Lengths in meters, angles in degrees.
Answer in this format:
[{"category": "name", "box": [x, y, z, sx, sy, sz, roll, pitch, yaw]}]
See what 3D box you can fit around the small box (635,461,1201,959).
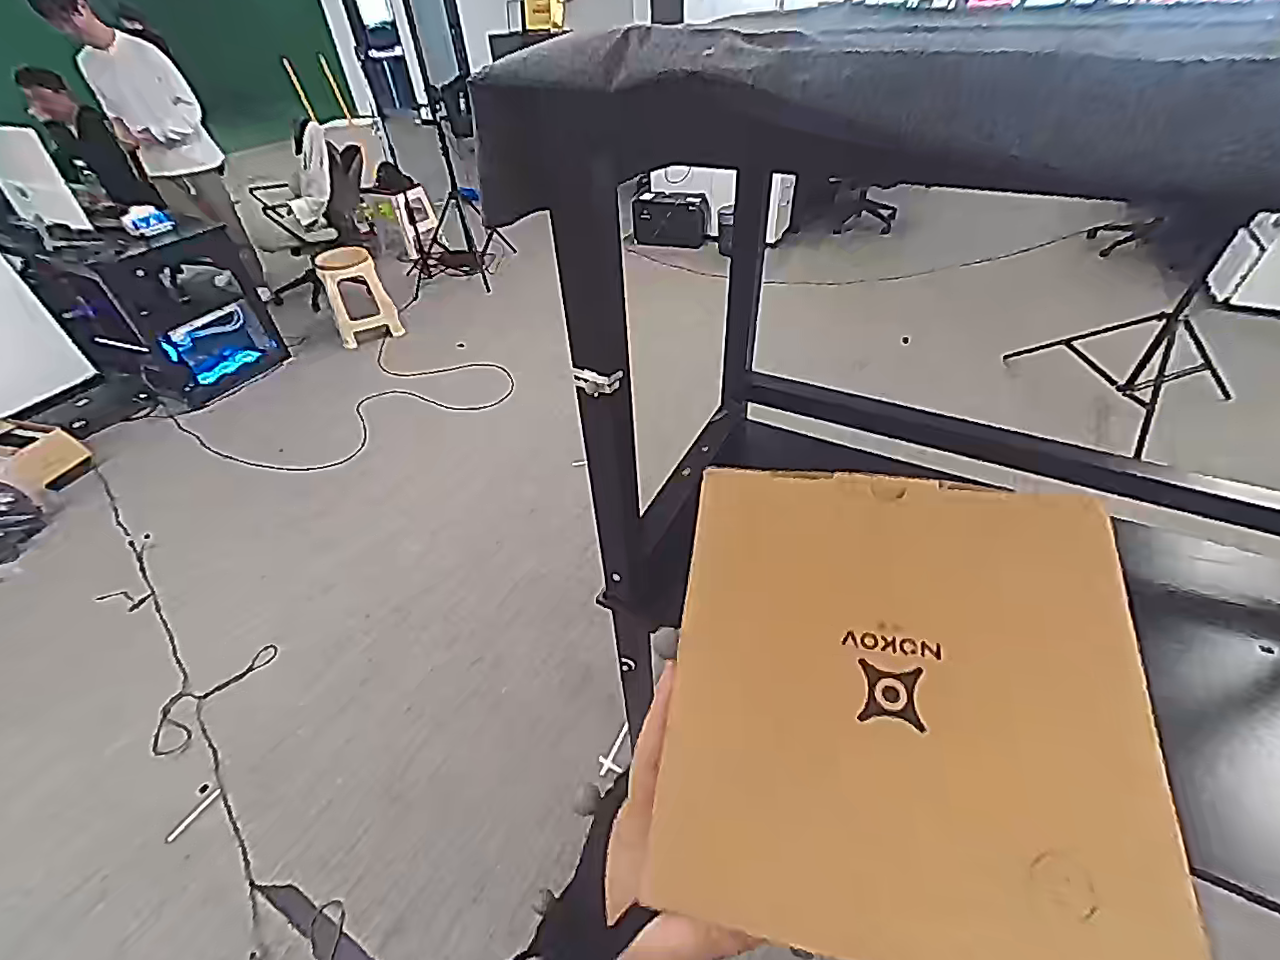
[{"category": "small box", "box": [0.106, 0.111, 0.270, 0.168, 0.176, 0.179, 5, 61, 14]}]
